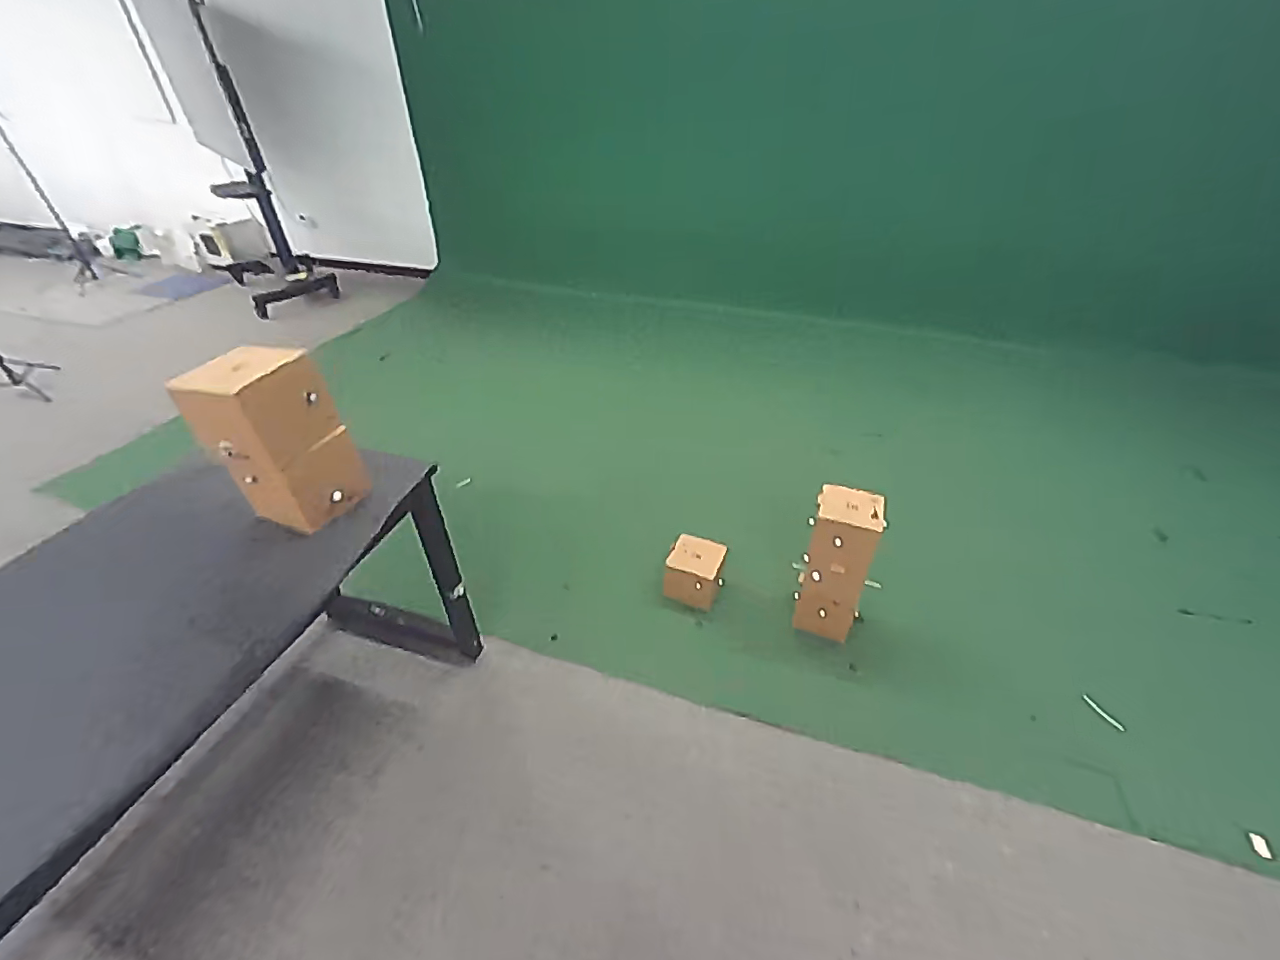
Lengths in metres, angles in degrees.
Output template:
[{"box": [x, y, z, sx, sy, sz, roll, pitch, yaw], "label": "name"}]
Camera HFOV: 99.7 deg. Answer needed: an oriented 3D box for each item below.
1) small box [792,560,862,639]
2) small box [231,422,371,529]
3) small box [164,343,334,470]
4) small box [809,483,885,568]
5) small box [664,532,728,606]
[{"box": [0.617, 0.398, 1.790, 0.179, 0.176, 0.168, 14, 41, 18], "label": "small box"}, {"box": [-0.710, -0.020, 1.133, 0.179, 0.176, 0.168, 14, 41, 20], "label": "small box"}, {"box": [-0.720, -0.142, 1.026, 0.168, 0.176, 0.179, 7, 40, 15], "label": "small box"}, {"box": [0.606, 0.136, 1.592, 0.179, 0.176, 0.168, 13, 39, 17], "label": "small box"}, {"box": [0.194, 0.316, 1.892, 0.179, 0.176, 0.168, 15, 40, 19], "label": "small box"}]
